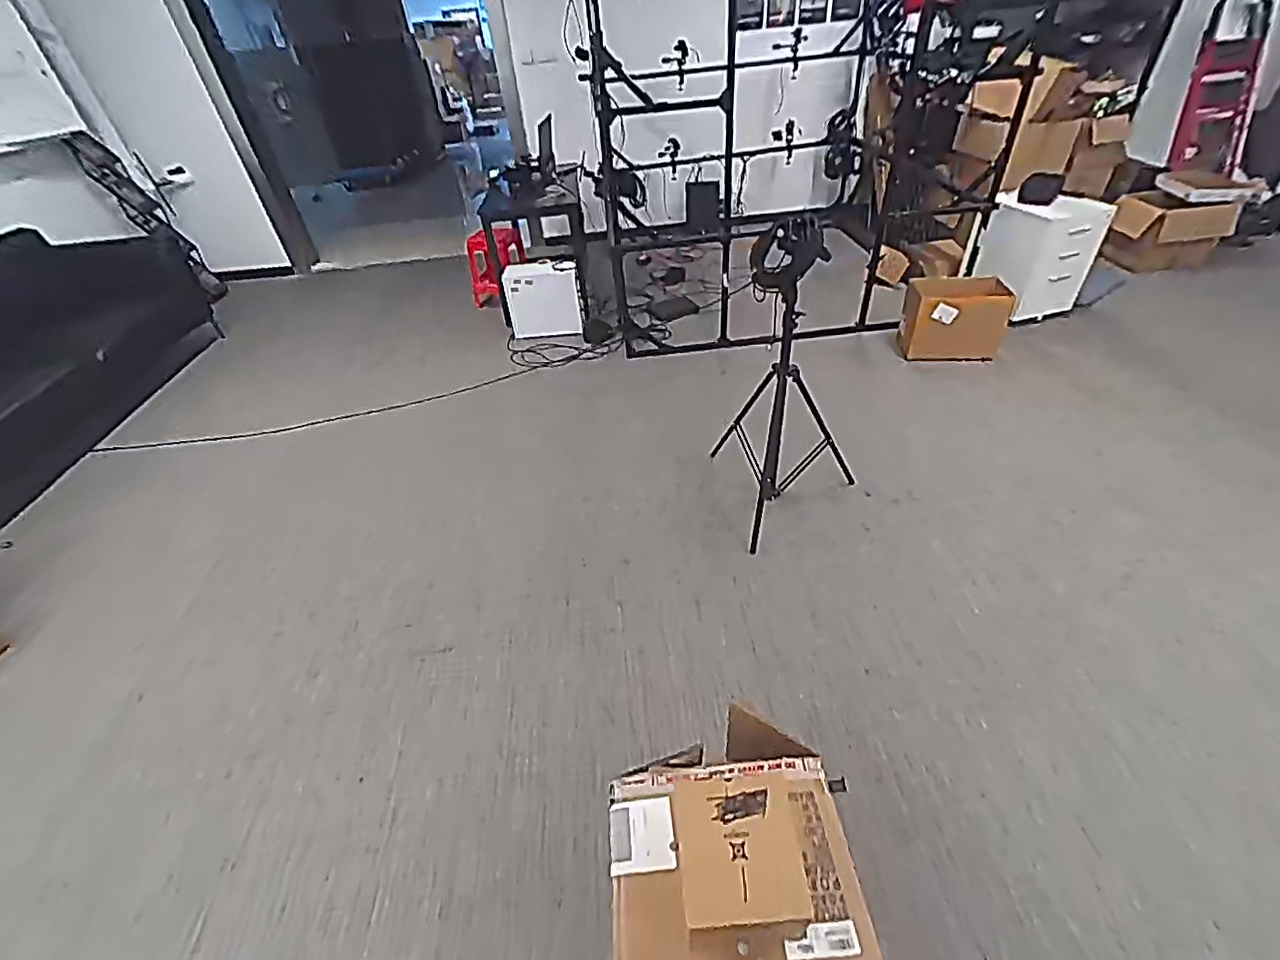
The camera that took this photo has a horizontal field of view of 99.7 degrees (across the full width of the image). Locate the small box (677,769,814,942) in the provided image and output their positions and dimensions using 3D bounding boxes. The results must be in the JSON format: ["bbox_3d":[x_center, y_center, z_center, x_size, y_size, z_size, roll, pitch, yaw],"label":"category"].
[{"bbox_3d":[0.143,0.558,0.804,0.168,0.176,0.179,-5,43,1],"label":"small box"}]
